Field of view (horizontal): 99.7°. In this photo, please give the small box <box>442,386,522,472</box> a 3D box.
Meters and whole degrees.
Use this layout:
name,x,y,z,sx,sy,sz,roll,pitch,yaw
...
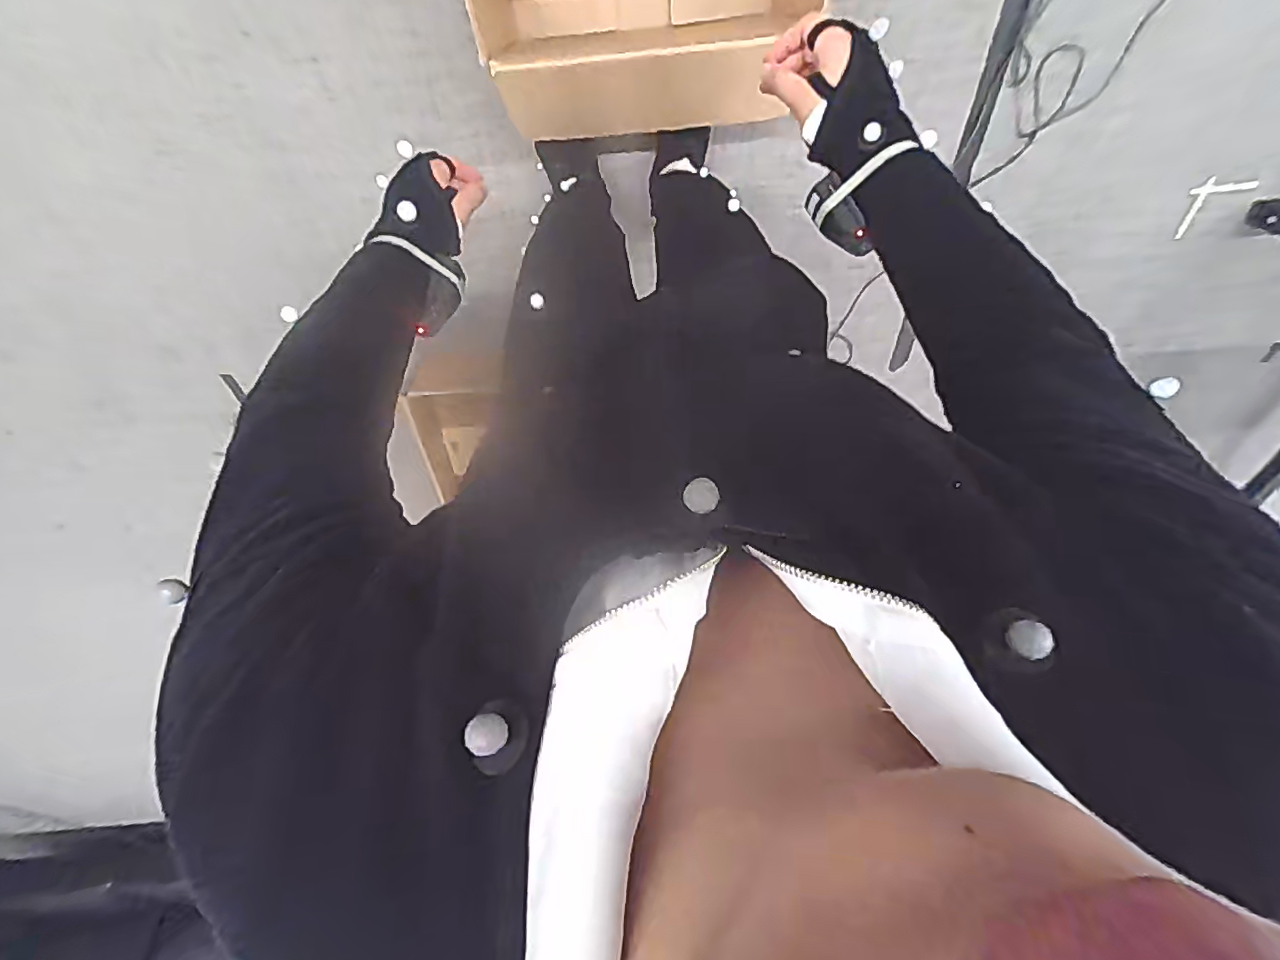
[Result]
name,x,y,z,sx,sy,sz,roll,pitch,yaw
small box,-0.416,-0.141,1.459,0.179,0.176,0.168,-3,134,-4
